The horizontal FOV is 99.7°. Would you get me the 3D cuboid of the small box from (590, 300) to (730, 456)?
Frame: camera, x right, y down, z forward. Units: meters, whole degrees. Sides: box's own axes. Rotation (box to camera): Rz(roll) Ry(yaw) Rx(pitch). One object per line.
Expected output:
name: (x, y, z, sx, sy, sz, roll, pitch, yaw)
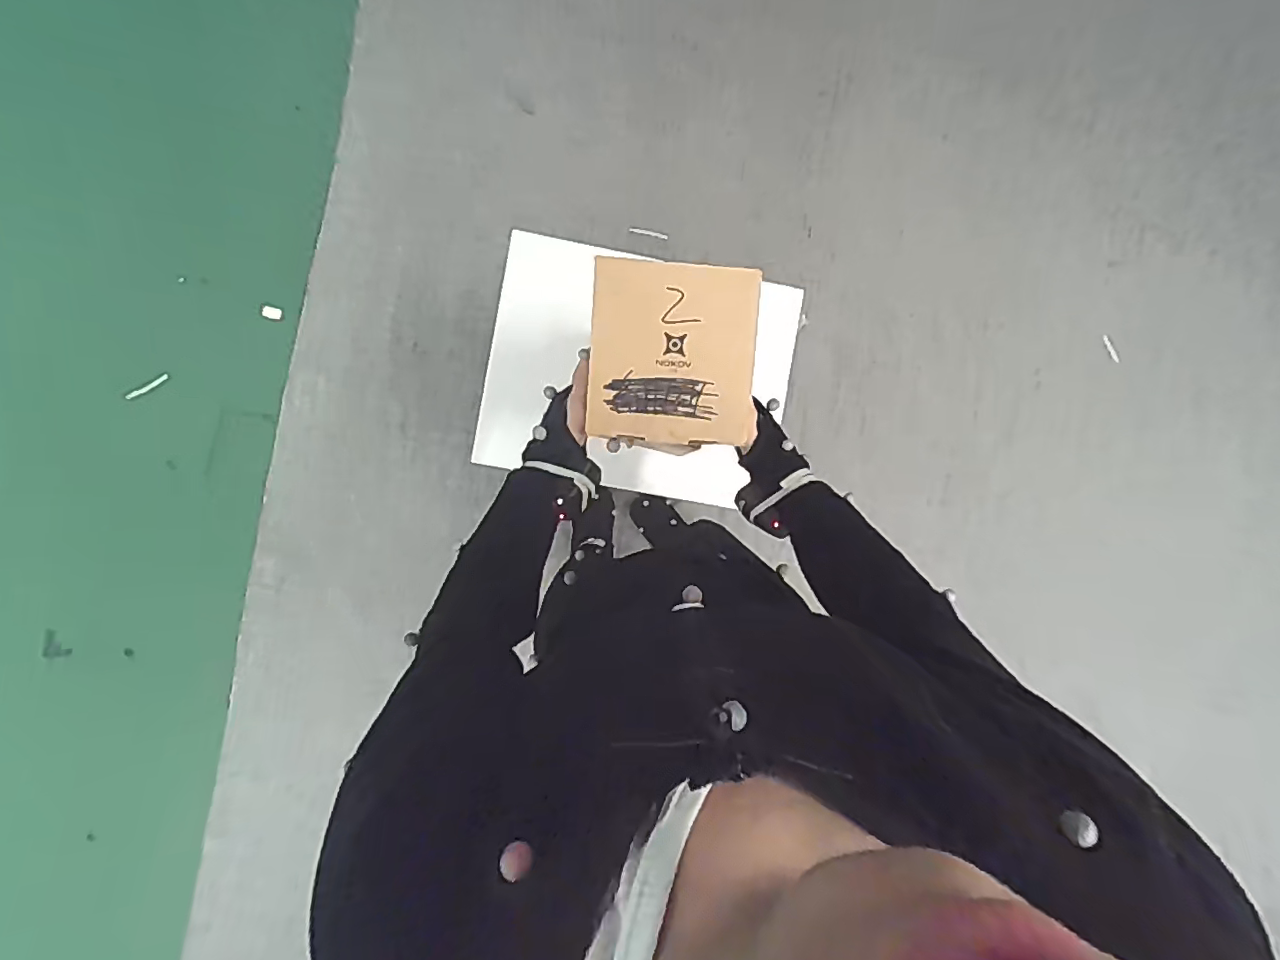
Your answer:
small box: (0.021, -0.142, 0.819, 0.168, 0.176, 0.179, 13, 88, -4)
